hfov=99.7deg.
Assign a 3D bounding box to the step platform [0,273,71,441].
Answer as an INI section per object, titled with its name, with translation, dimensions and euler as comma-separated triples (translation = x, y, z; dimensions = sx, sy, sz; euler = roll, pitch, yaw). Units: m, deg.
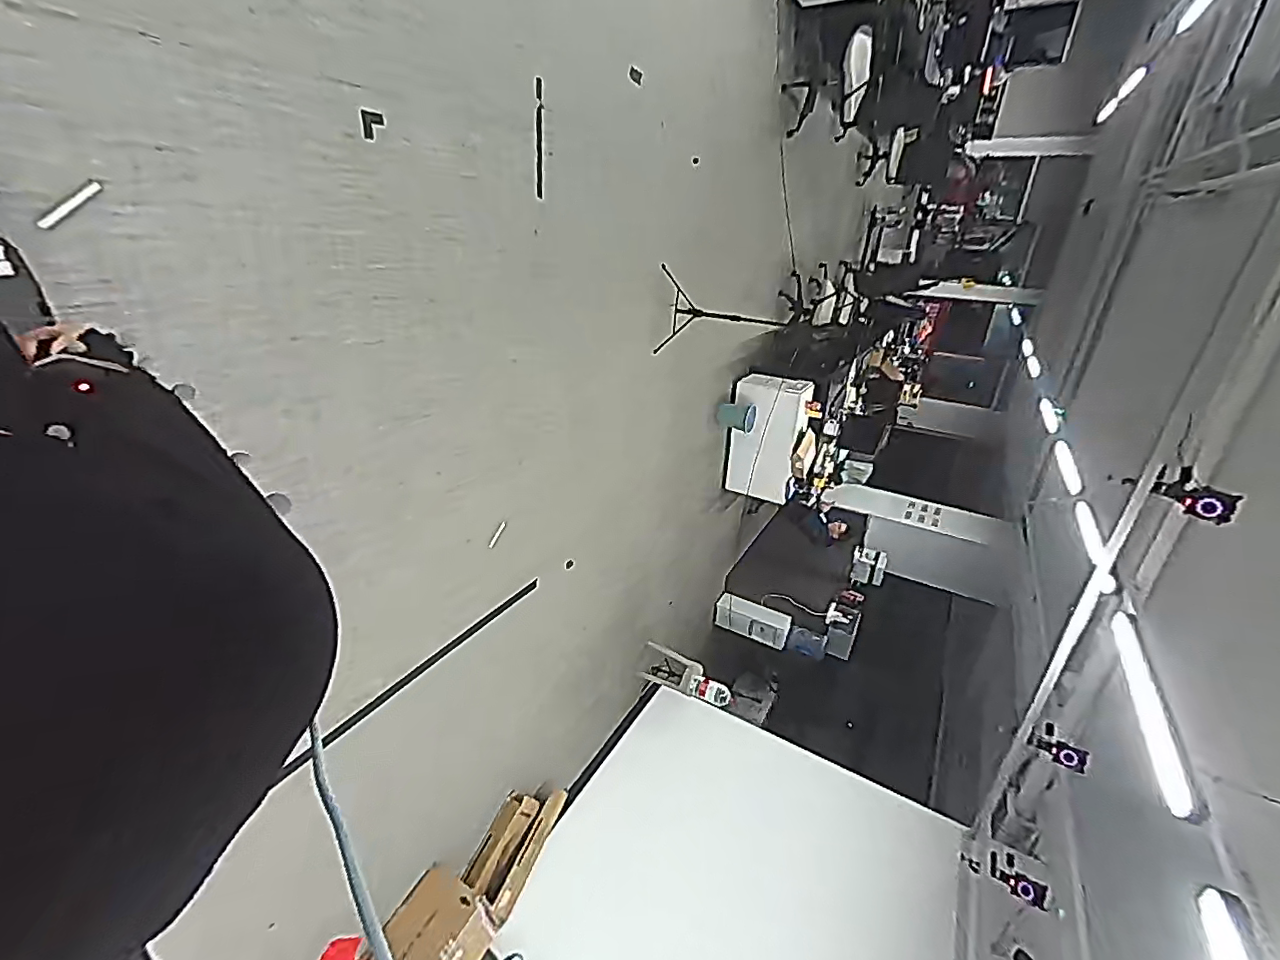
[step platform]
translation = -1.300, -0.158, 0.762
dimensions = 0.684, 0.204, 0.286
euler = -26, 125, -54
